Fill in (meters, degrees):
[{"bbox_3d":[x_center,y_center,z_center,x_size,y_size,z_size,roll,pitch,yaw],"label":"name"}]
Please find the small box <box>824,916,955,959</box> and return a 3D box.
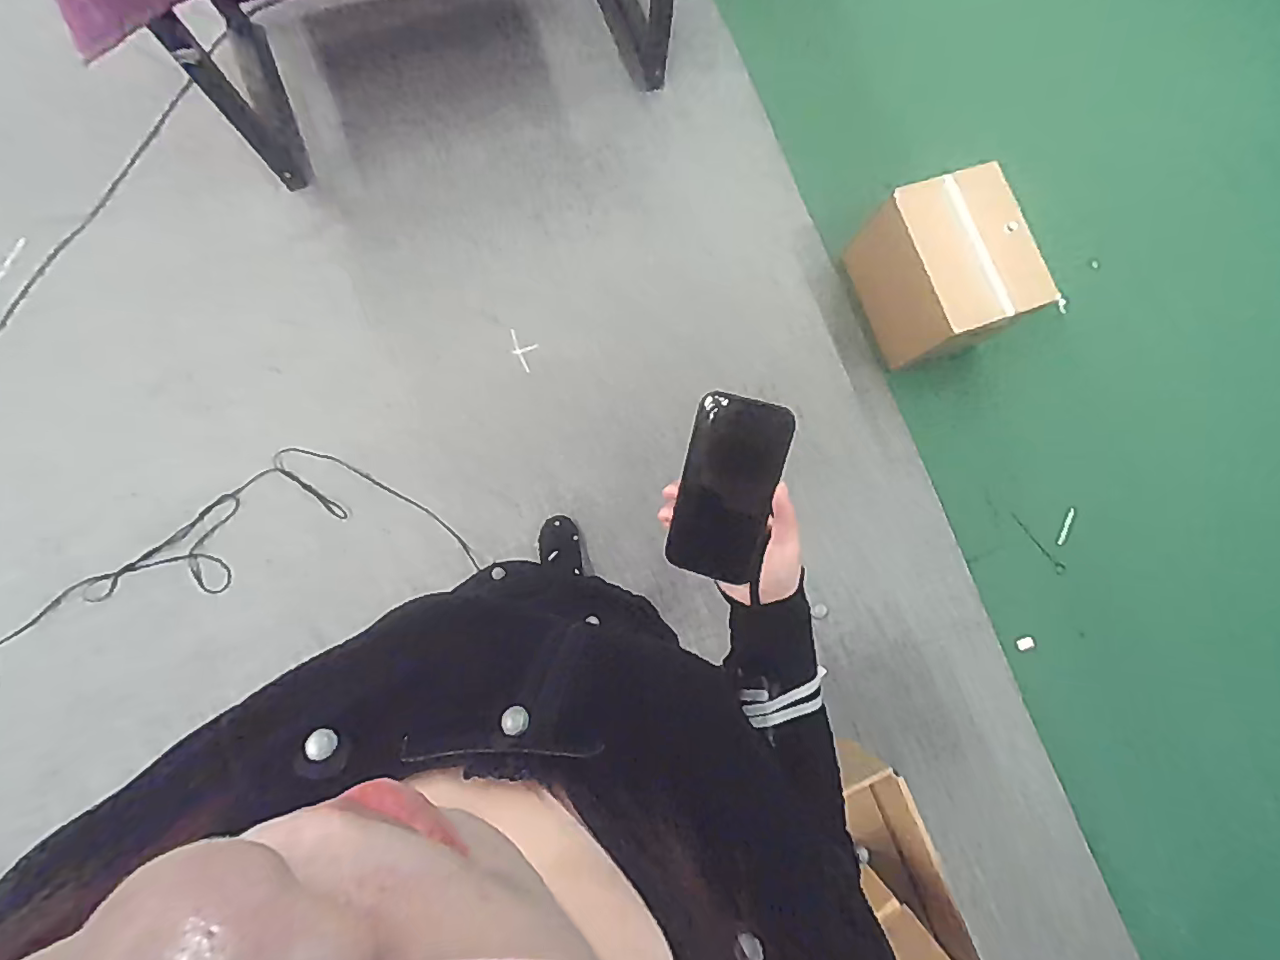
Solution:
[{"bbox_3d":[0.385,0.759,0.747,0.168,0.176,0.179,-25,86,-5],"label":"small box"}]
